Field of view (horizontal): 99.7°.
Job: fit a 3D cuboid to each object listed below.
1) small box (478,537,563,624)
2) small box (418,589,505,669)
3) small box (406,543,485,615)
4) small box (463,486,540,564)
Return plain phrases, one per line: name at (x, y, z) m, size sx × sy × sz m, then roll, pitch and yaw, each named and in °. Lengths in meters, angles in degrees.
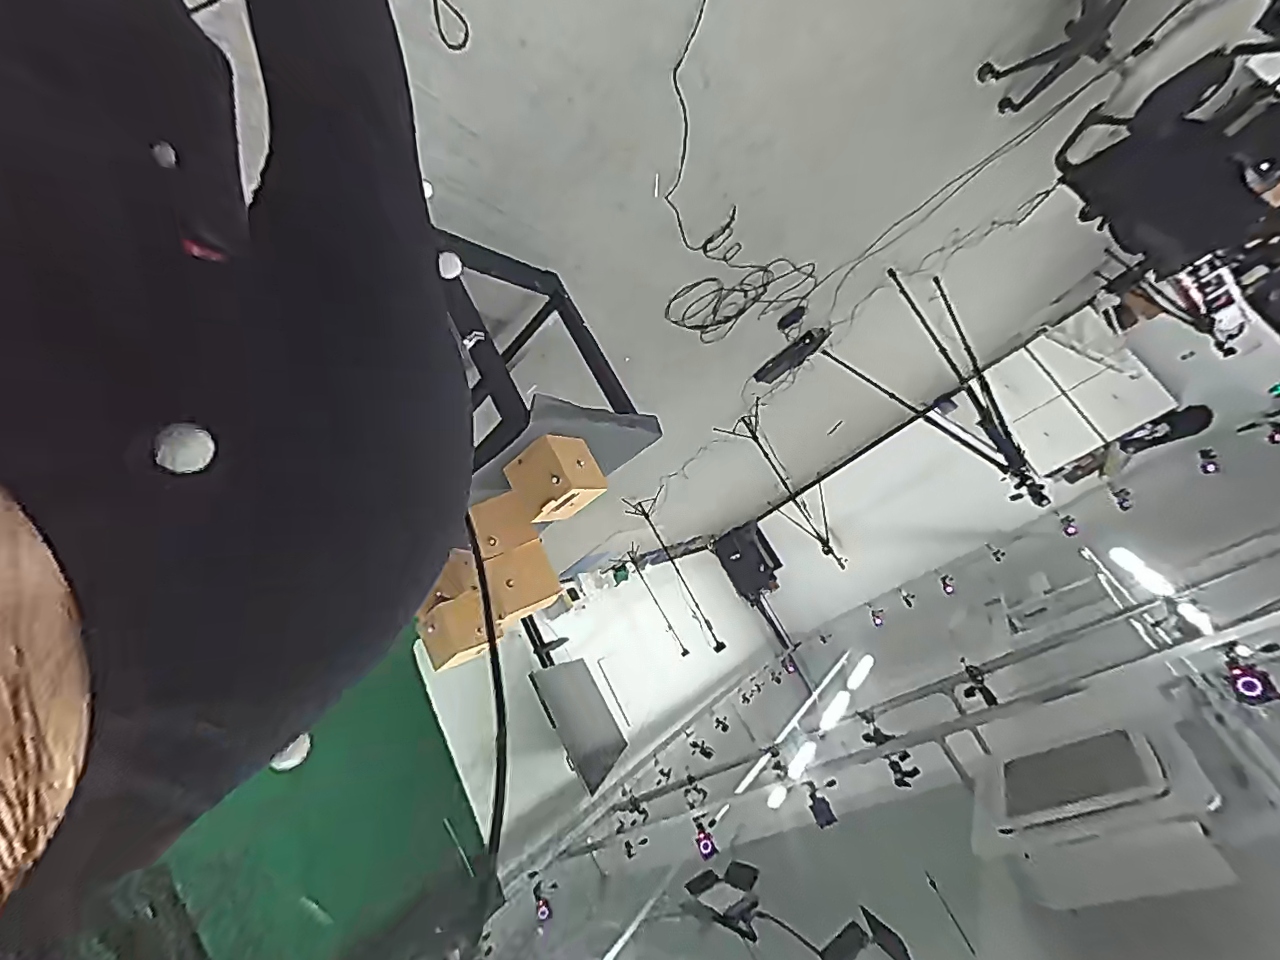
small box at (-0.352, 0.289, 1.567) m, size 0.179 × 0.176 × 0.168 m, roll -21°, pitch 163°, yaw -31°
small box at (-0.574, 0.469, 1.728) m, size 0.168 × 0.176 × 0.179 m, roll -41°, pitch 161°, yaw 33°
small box at (-0.643, 0.330, 1.784) m, size 0.179 × 0.176 × 0.168 m, roll -31°, pitch 165°, yaw 0°
small box at (-0.414, 0.143, 1.609) m, size 0.179 × 0.176 × 0.168 m, roll -24°, pitch 164°, yaw -19°
